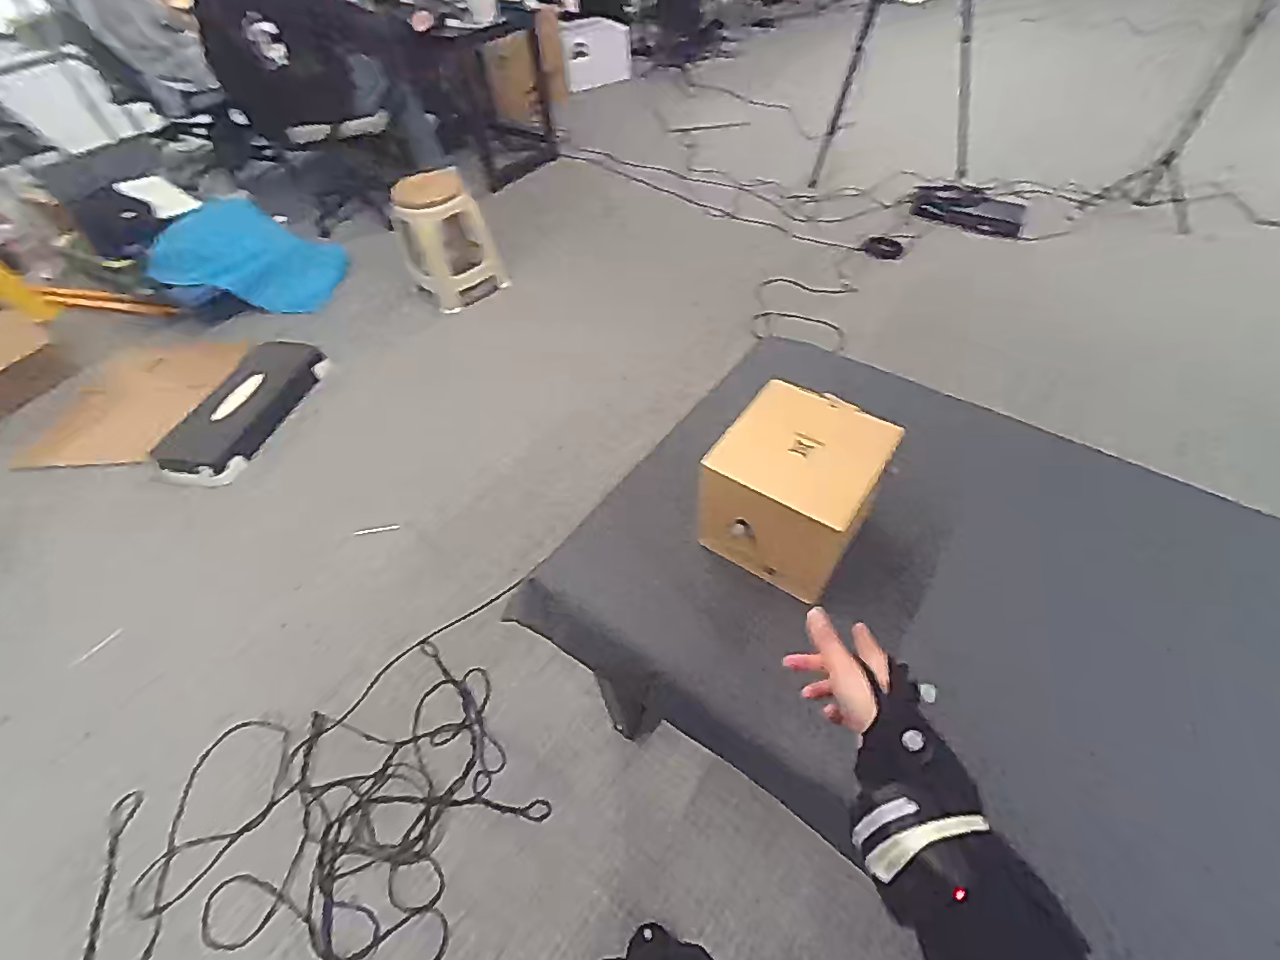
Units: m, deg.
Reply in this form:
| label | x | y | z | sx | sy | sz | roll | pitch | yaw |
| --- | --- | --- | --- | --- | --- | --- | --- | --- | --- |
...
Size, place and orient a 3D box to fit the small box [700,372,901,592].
| label | x | y | z | sx | sy | sz | roll | pitch | yaw |
| --- | --- | --- | --- | --- | --- | --- | --- | --- | --- |
| small box | 0.187 | 0.005 | 0.665 | 0.168 | 0.176 | 0.179 | 28 | 57 | 24 |
